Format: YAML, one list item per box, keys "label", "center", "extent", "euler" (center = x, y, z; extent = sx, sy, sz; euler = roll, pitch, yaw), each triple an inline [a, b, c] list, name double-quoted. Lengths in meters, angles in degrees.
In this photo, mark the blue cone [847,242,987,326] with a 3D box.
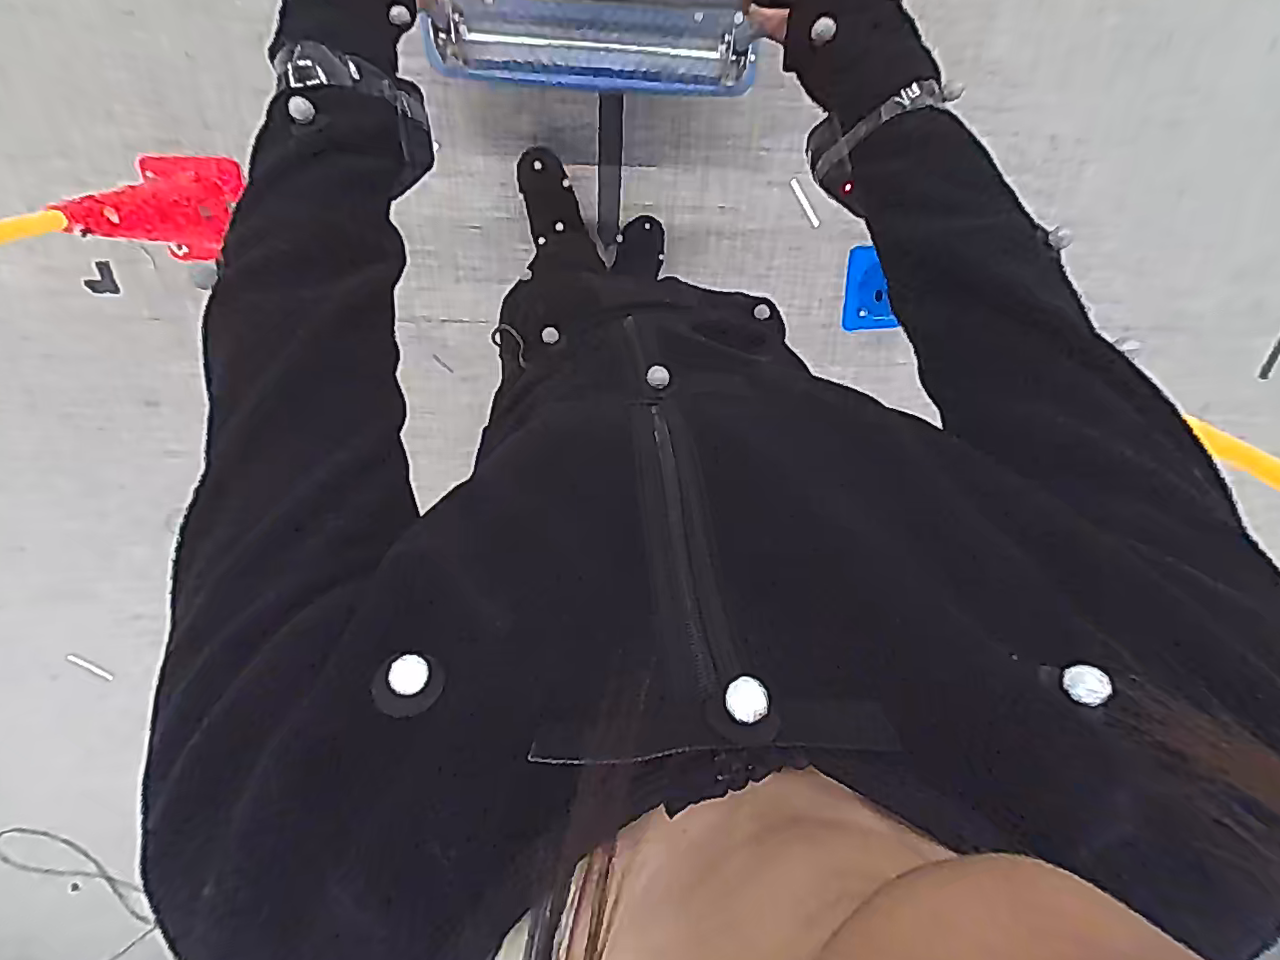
- label: "blue cone"
  center: [0.619, -0.404, 1.181]
  extent: [0.193, 0.380, 0.192]
  euler: [-4, 117, -3]
